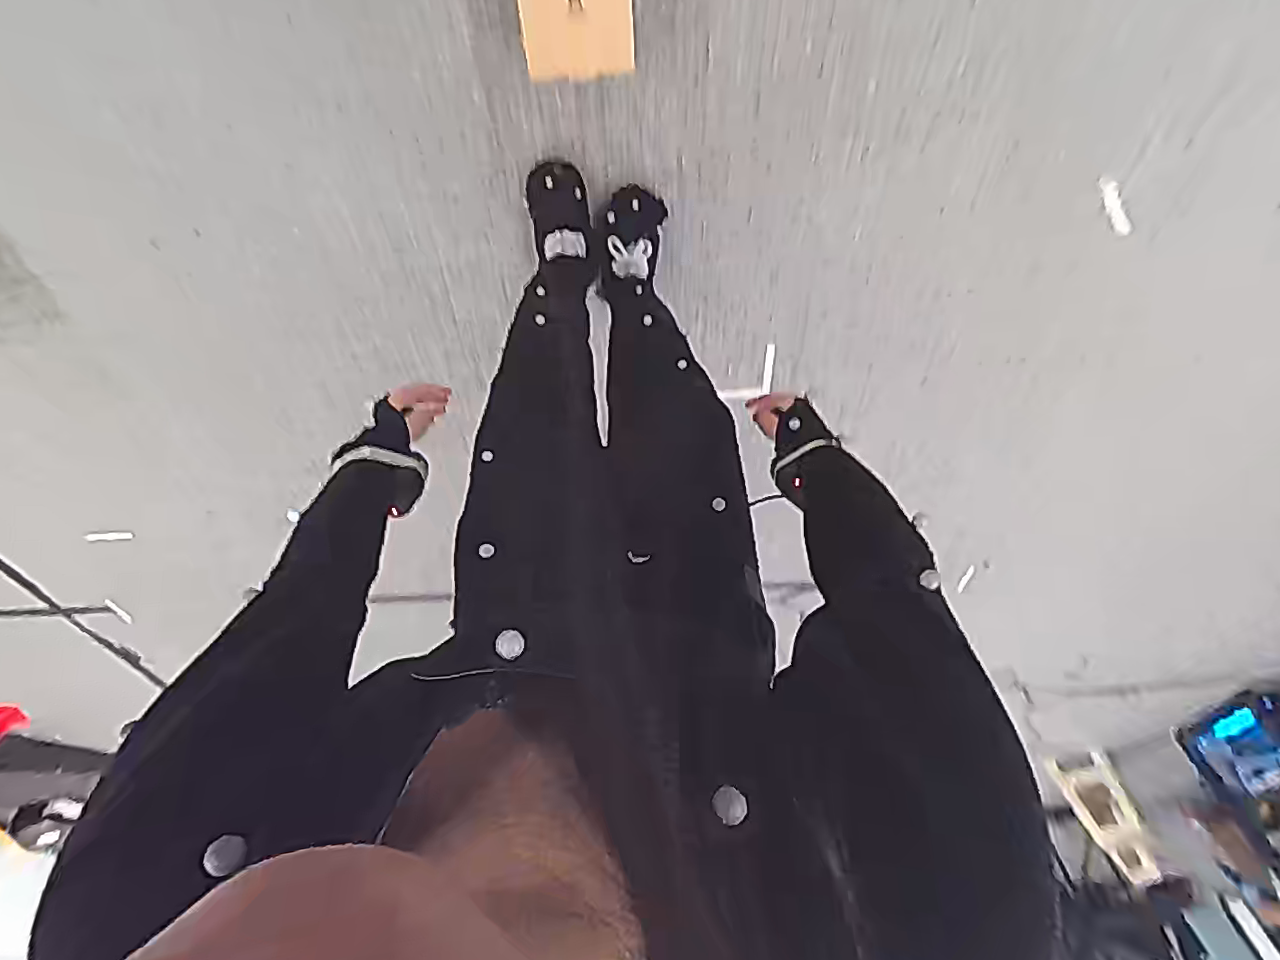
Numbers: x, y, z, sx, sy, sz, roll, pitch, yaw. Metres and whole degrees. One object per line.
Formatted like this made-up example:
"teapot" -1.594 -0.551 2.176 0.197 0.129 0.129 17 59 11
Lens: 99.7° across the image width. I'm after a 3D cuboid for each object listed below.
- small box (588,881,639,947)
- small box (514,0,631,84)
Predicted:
"small box" -0.098 1.613 2.010 0.179 0.176 0.168 -3 133 1
"small box" -0.102 -0.739 0.841 0.168 0.176 0.179 -5 132 0
